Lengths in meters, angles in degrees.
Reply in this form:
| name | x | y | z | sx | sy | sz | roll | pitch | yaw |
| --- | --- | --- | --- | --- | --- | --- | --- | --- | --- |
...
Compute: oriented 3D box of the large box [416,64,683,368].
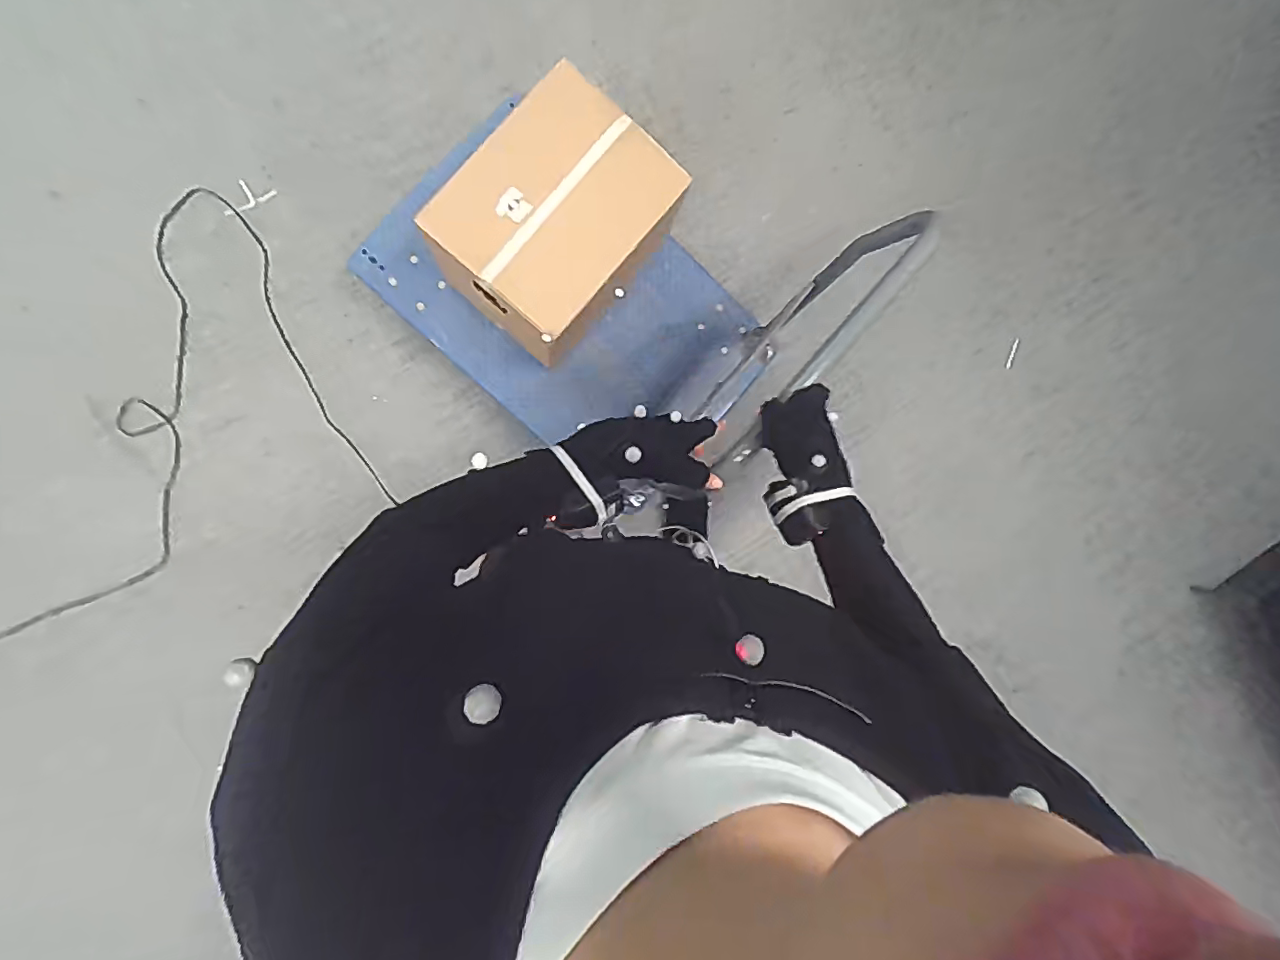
| name | x | y | z | sx | sy | sz | roll | pitch | yaw |
| --- | --- | --- | --- | --- | --- | --- | --- | --- | --- |
| large box | -0.174 | -0.502 | 1.115 | 0.320 | 0.320 | 0.408 | 40 | 86 | -6 |
